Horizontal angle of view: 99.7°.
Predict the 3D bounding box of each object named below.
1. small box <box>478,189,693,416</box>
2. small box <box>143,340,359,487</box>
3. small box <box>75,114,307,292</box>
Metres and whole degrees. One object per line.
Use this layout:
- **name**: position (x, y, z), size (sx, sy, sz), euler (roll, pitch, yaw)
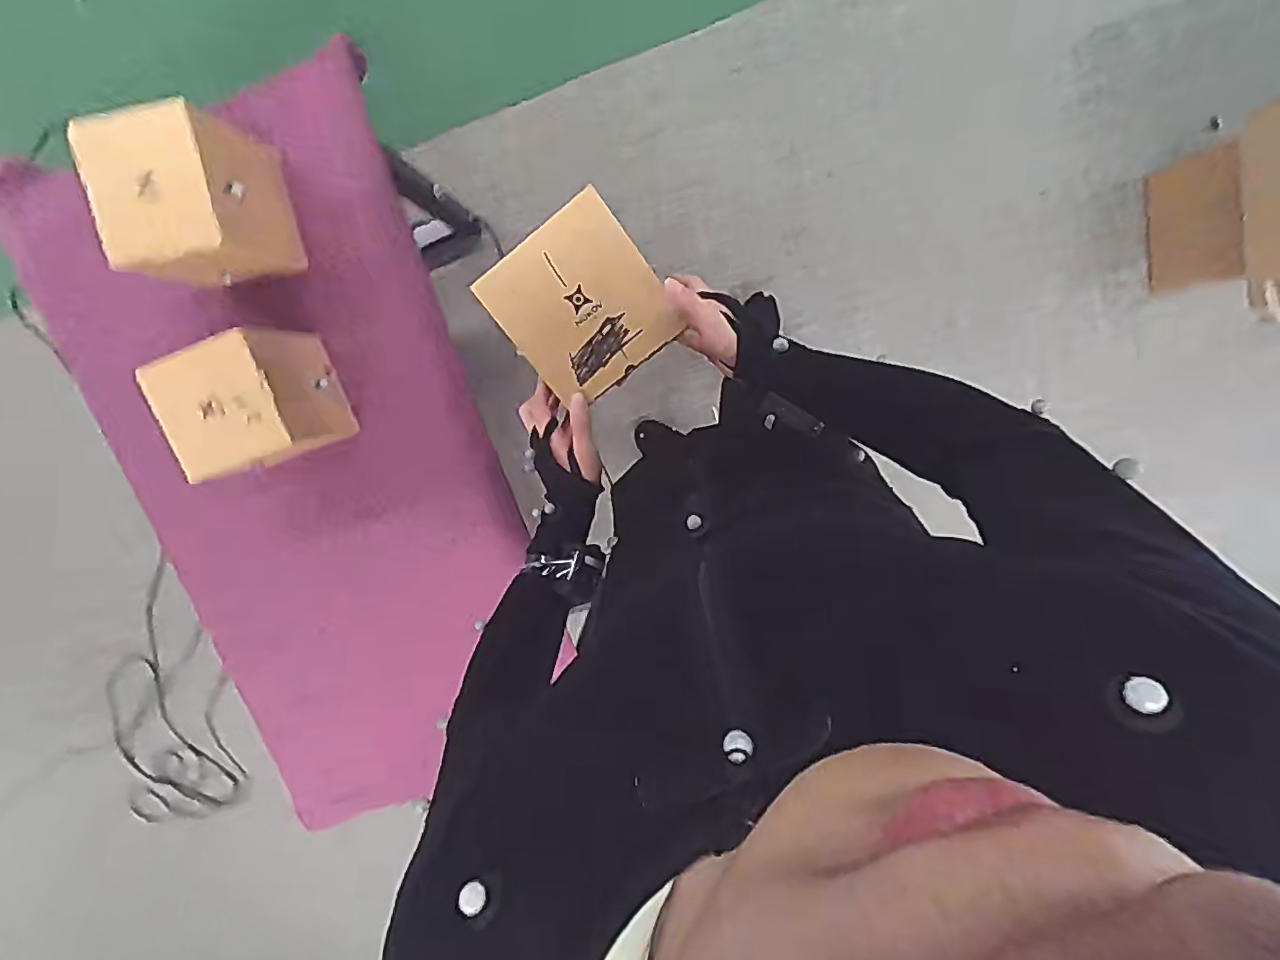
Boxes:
- **small box**: position (-0.058, -0.204, 0.647), size (0.168, 0.176, 0.179), euler (-35, 104, 6)
- **small box**: position (-0.580, -0.104, 0.830), size (0.179, 0.176, 0.168), euler (-18, 100, 7)
- **small box**: position (-0.627, -0.382, 0.780), size (0.168, 0.176, 0.179), euler (-8, 102, 6)
